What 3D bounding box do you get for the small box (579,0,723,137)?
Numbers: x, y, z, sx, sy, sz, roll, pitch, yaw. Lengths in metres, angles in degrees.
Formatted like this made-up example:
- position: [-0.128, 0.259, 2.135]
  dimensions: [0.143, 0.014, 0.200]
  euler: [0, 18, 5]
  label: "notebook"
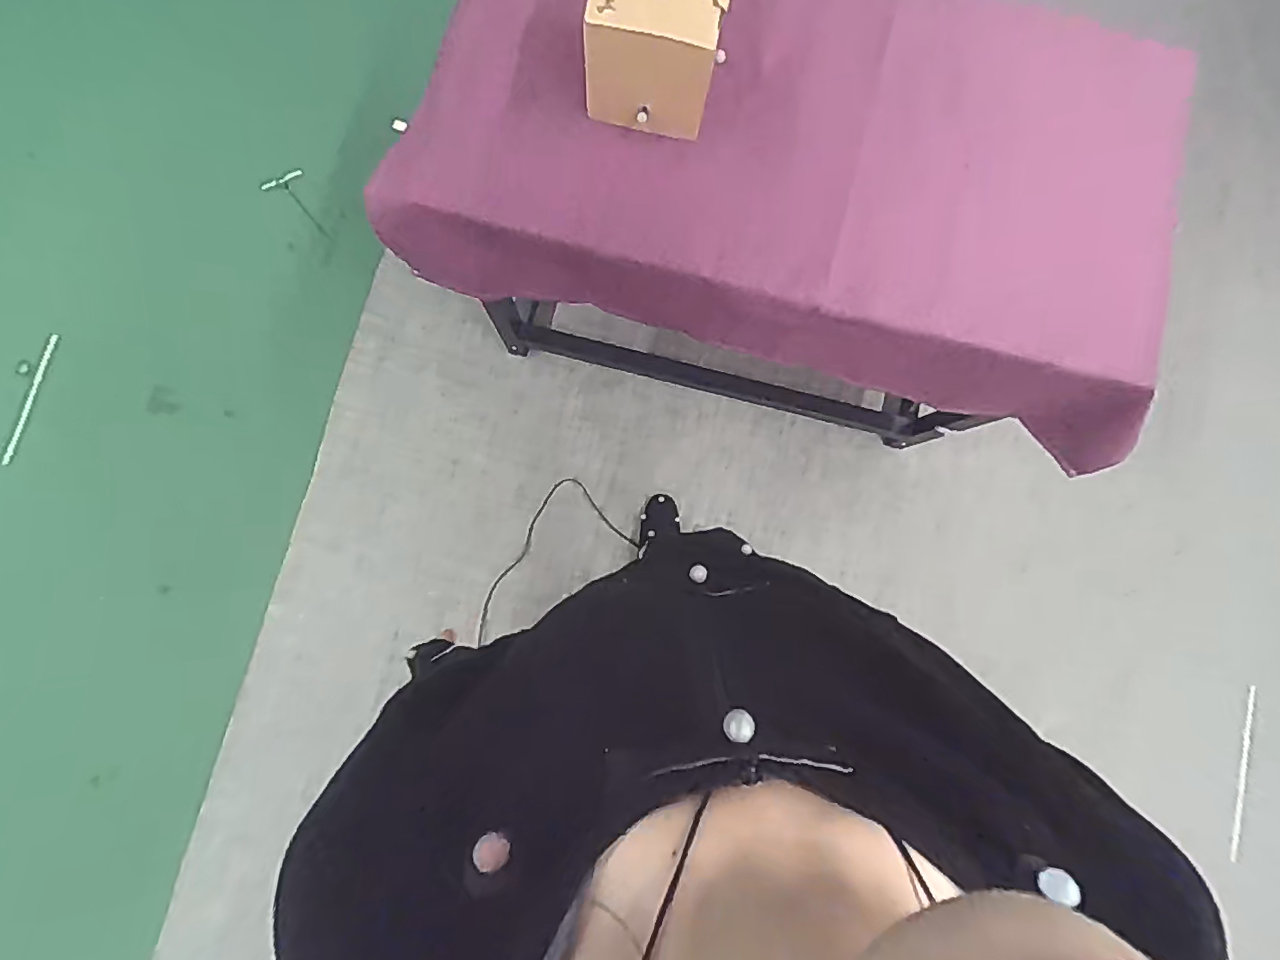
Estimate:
- position: [0.017, -0.638, 0.782]
  dimensions: [0.179, 0.176, 0.168]
  euler: [12, 84, -2]
  label: "small box"
